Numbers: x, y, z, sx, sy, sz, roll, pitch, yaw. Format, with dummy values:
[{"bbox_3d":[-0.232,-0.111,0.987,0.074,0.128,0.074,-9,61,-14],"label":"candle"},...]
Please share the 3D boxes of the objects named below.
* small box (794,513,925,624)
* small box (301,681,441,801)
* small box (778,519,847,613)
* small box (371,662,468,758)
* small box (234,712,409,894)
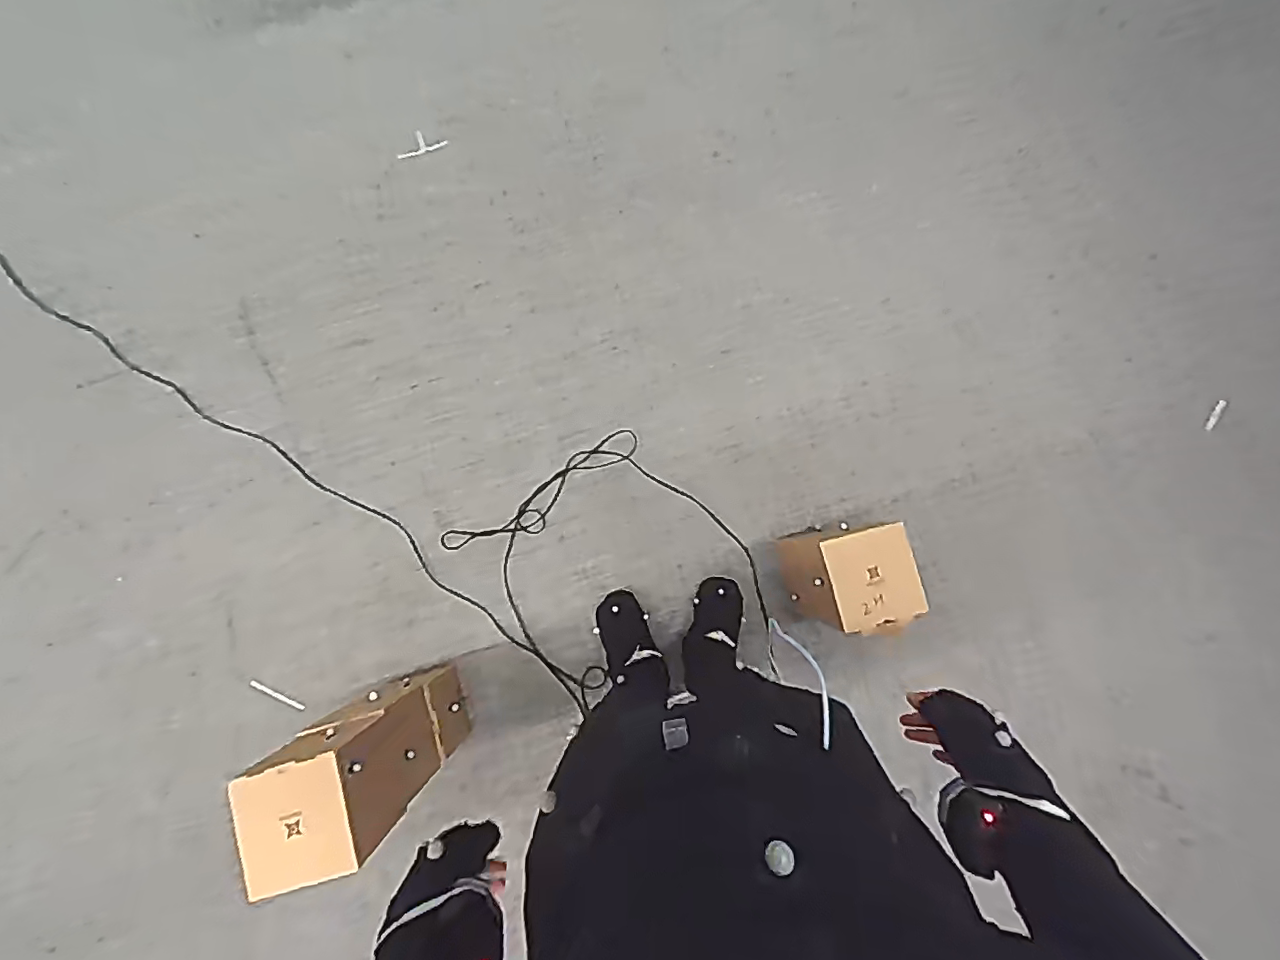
[{"bbox_3d":[0.428,0.171,1.082,0.168,0.176,0.179,-14,86,-2],"label":"small box"},{"bbox_3d":[-0.504,0.512,1.037,0.168,0.176,0.179,-16,85,-1],"label":"small box"},{"bbox_3d":[0.429,0.187,1.229,0.168,0.176,0.179,-12,86,-2],"label":"small box"},{"bbox_3d":[-0.498,0.523,1.202,0.179,0.176,0.168,-16,85,-2],"label":"small box"},{"bbox_3d":[-0.500,0.507,0.875,0.168,0.176,0.179,-16,85,-1],"label":"small box"}]
